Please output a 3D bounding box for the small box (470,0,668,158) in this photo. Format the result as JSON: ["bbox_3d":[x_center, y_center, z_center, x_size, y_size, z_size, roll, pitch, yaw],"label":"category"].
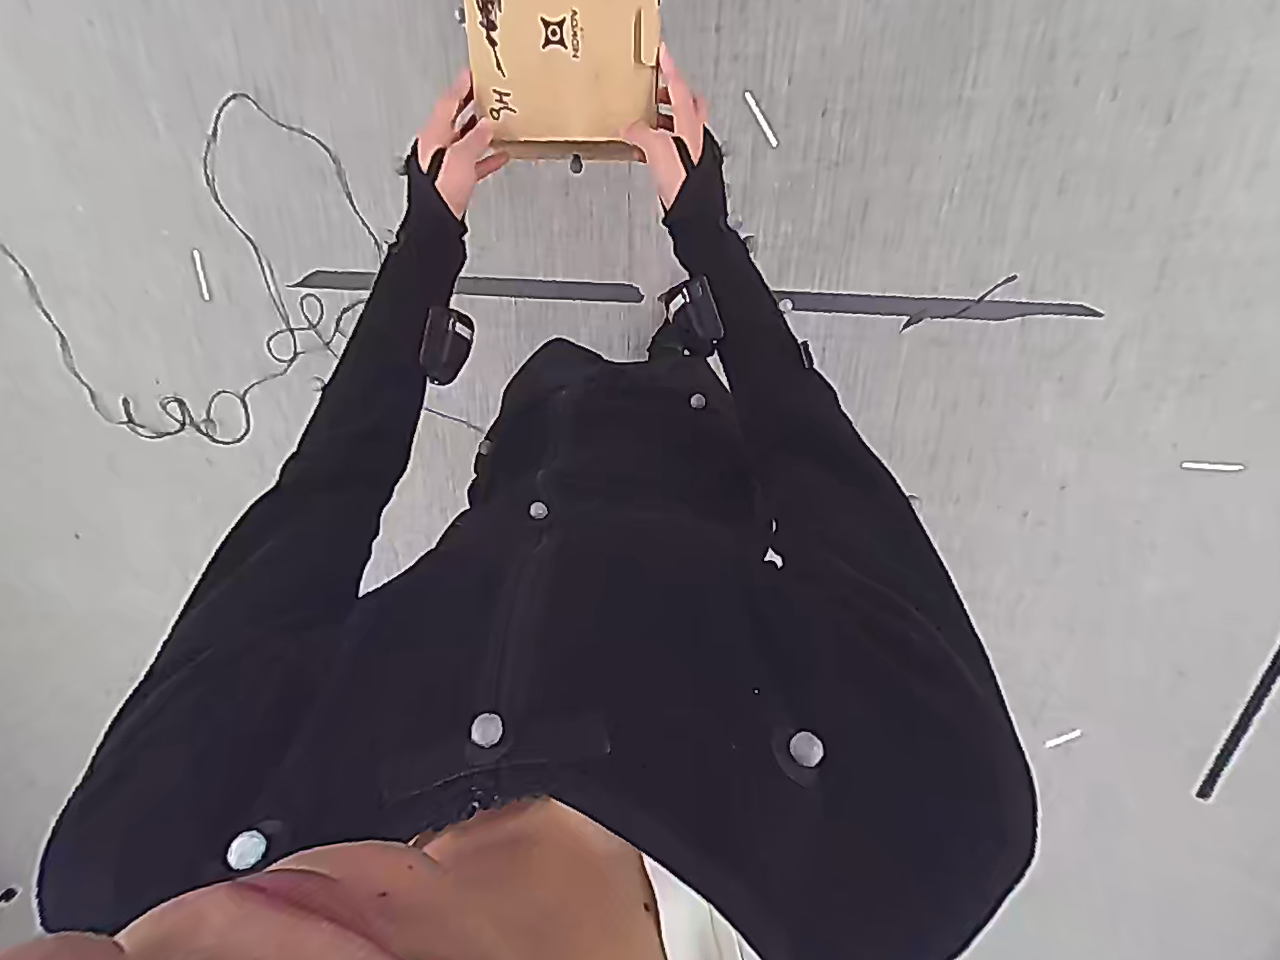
[{"bbox_3d":[-0.068,-0.438,0.557,0.179,0.176,0.168,-1,115,-3],"label":"small box"}]
